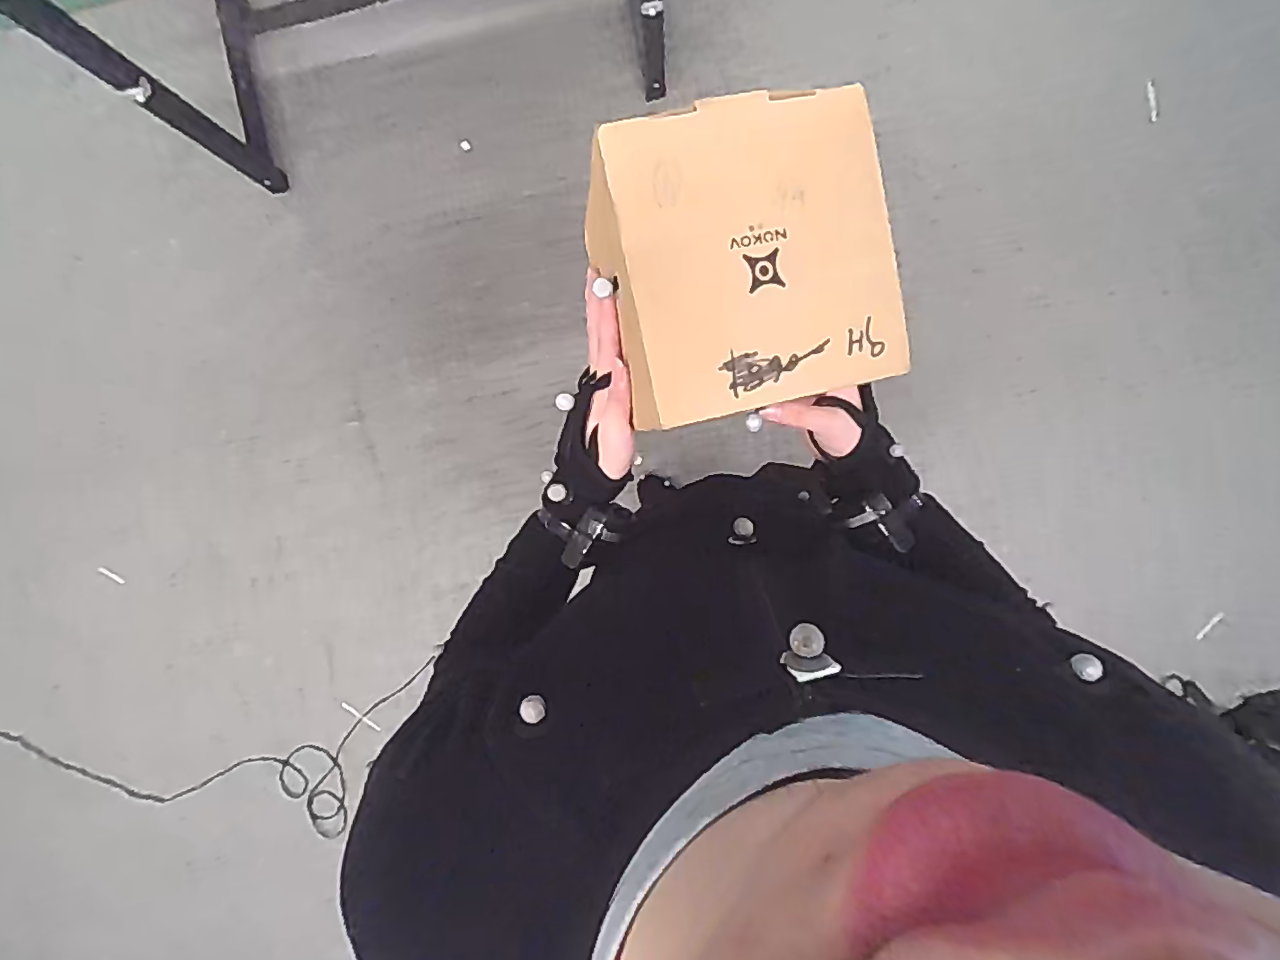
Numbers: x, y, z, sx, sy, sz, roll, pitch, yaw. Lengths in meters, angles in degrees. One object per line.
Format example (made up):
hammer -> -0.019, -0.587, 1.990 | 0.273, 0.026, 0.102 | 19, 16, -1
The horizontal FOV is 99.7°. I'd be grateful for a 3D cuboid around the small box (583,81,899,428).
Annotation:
small box -> 0.055, -0.141, 0.400 | 0.168, 0.176, 0.179 | -14, 96, -5
